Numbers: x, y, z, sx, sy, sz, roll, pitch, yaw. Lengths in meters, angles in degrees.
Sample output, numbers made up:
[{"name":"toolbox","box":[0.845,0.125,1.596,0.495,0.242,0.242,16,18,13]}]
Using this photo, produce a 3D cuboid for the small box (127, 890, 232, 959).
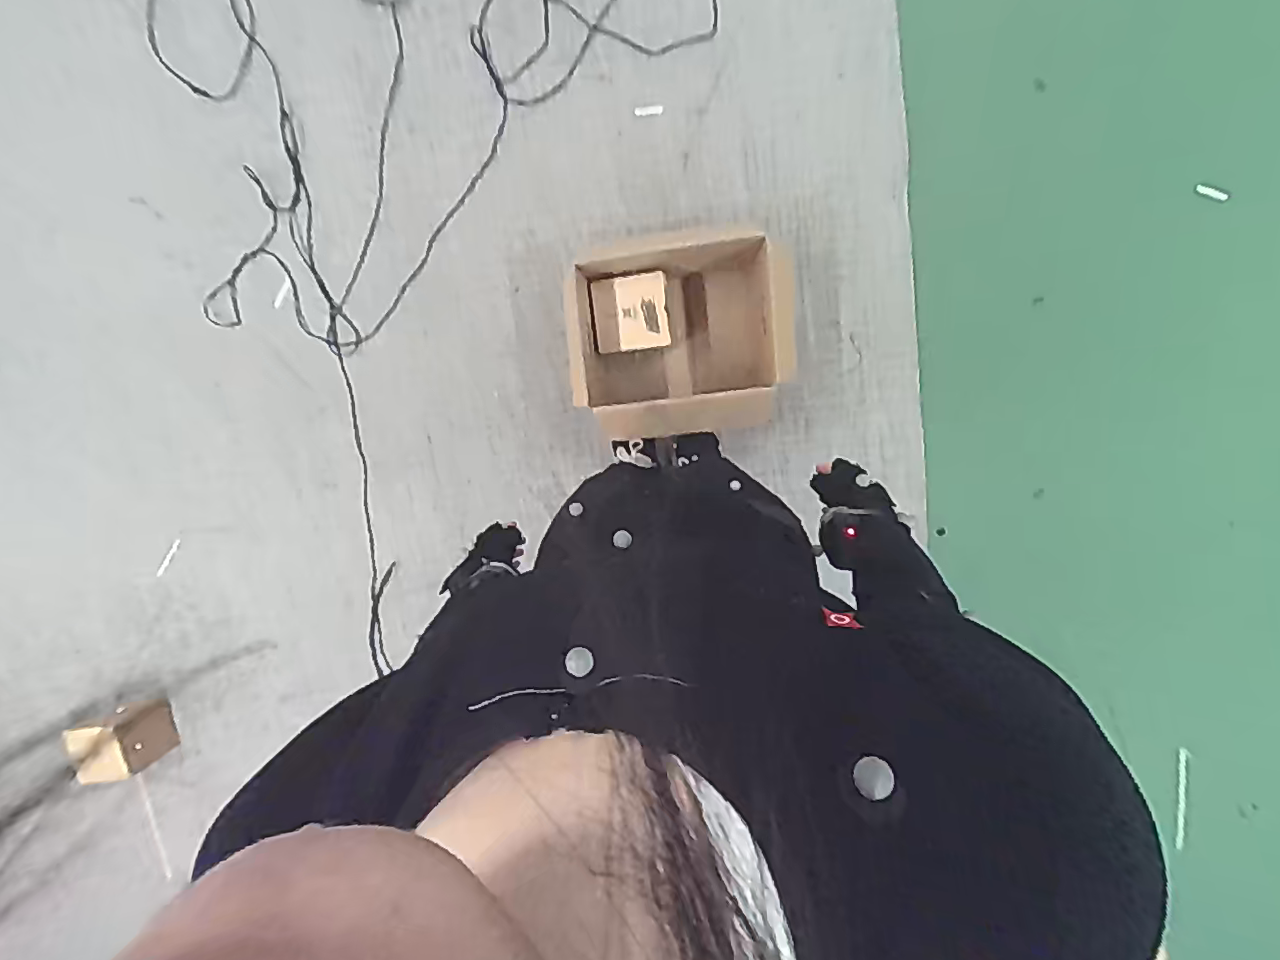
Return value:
[{"name":"small box","box":[-1.466,1.458,1.731,0.179,0.176,0.168,-8,99,5]}]

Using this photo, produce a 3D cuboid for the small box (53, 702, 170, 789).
[{"name":"small box","box":[-1.584,0.791,1.631,0.168,0.176,0.179,-8,99,4]}]
